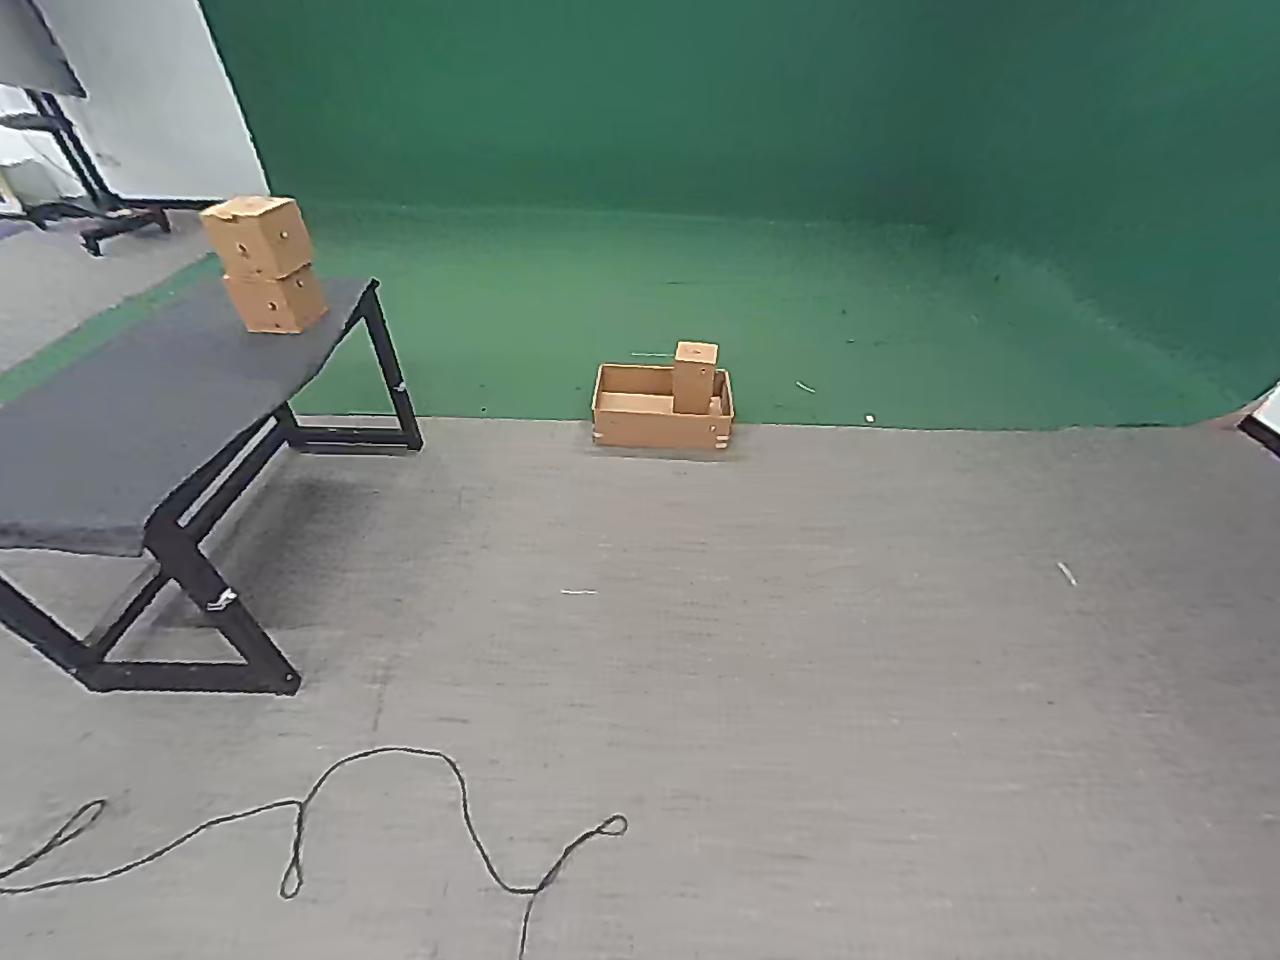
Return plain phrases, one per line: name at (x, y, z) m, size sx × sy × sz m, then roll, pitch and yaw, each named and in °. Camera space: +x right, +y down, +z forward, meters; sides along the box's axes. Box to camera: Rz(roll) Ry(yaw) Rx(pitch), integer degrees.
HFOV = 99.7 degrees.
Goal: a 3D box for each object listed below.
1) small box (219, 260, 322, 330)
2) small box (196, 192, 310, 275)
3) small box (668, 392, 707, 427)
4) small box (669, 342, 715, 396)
small box at (-1.096, -0.563, 1.623) m, size 0.168 × 0.176 × 0.179 m, roll 4°, pitch 41°, yaw 2°
small box at (-1.074, -0.693, 1.523) m, size 0.168 × 0.176 × 0.179 m, roll 6°, pitch 42°, yaw 4°
small box at (0.223, -0.367, 2.494) m, size 0.168 × 0.176 × 0.179 m, roll 7°, pitch 44°, yaw 6°
small box at (0.227, -0.486, 2.380) m, size 0.179 × 0.176 × 0.168 m, roll 7°, pitch 43°, yaw 6°
